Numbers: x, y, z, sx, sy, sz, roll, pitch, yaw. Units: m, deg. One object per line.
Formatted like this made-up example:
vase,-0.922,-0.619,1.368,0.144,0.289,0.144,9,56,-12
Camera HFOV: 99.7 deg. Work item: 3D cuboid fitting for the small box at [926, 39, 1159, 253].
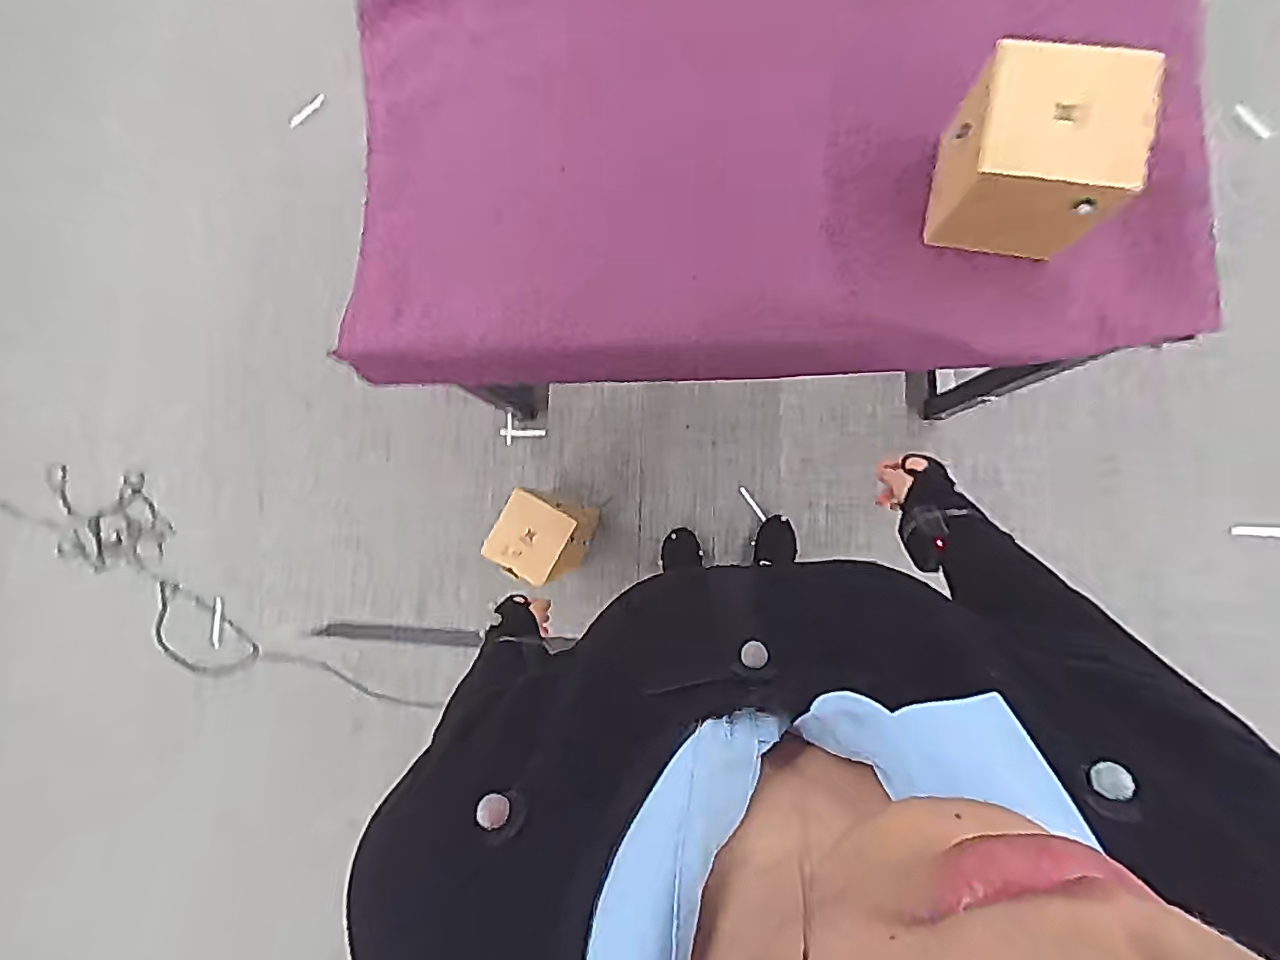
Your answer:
small box,0.496,-0.414,0.695,0.179,0.176,0.168,10,87,7

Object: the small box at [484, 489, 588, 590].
small box,-0.239,0.138,1.298,0.168,0.176,0.179,29,90,6
